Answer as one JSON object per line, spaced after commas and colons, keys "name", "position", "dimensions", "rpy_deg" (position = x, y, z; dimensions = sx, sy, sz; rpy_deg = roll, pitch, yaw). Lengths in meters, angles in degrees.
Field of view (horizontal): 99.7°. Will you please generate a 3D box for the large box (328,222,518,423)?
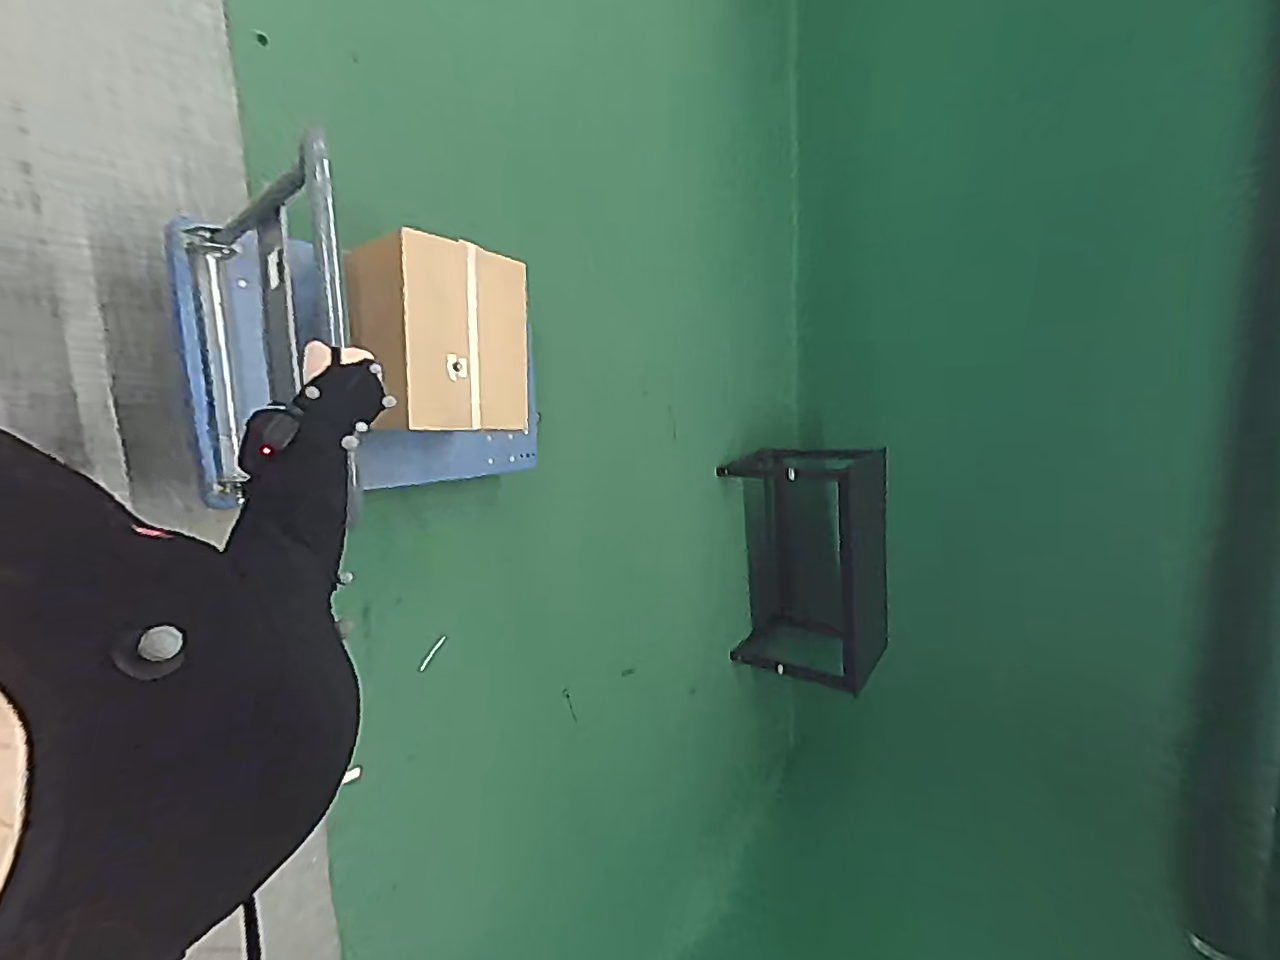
{"name": "large box", "position": [-0.515, -0.341, 1.297], "dimensions": [0.320, 0.320, 0.408], "rpy_deg": [-6, 99, -51]}
